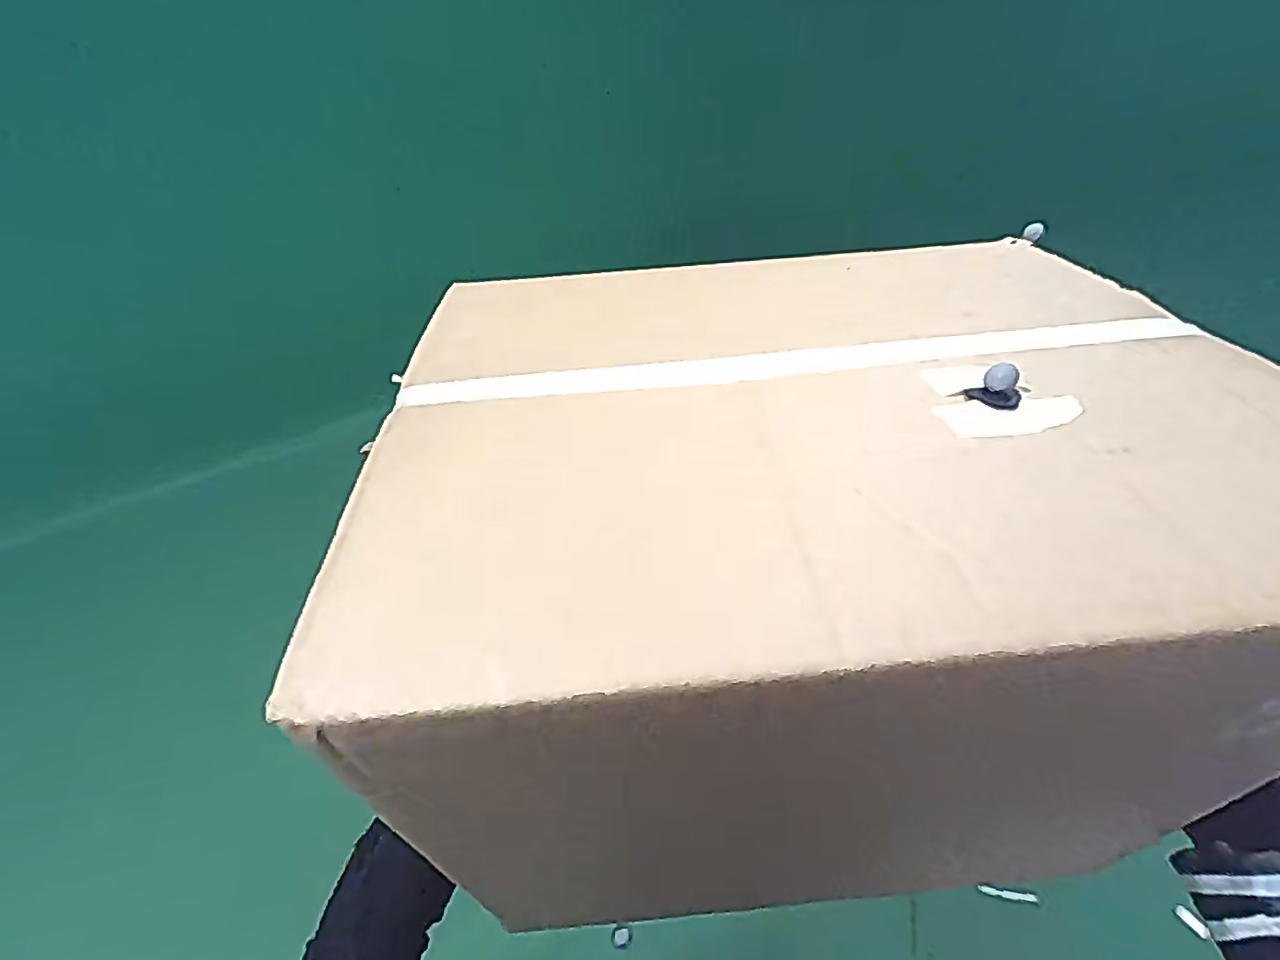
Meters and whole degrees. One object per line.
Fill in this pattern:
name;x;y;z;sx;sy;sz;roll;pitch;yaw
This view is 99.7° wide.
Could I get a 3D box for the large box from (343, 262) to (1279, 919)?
large box;0.097;0.063;0.379;0.408;0.320;0.320;-4;41;-1
